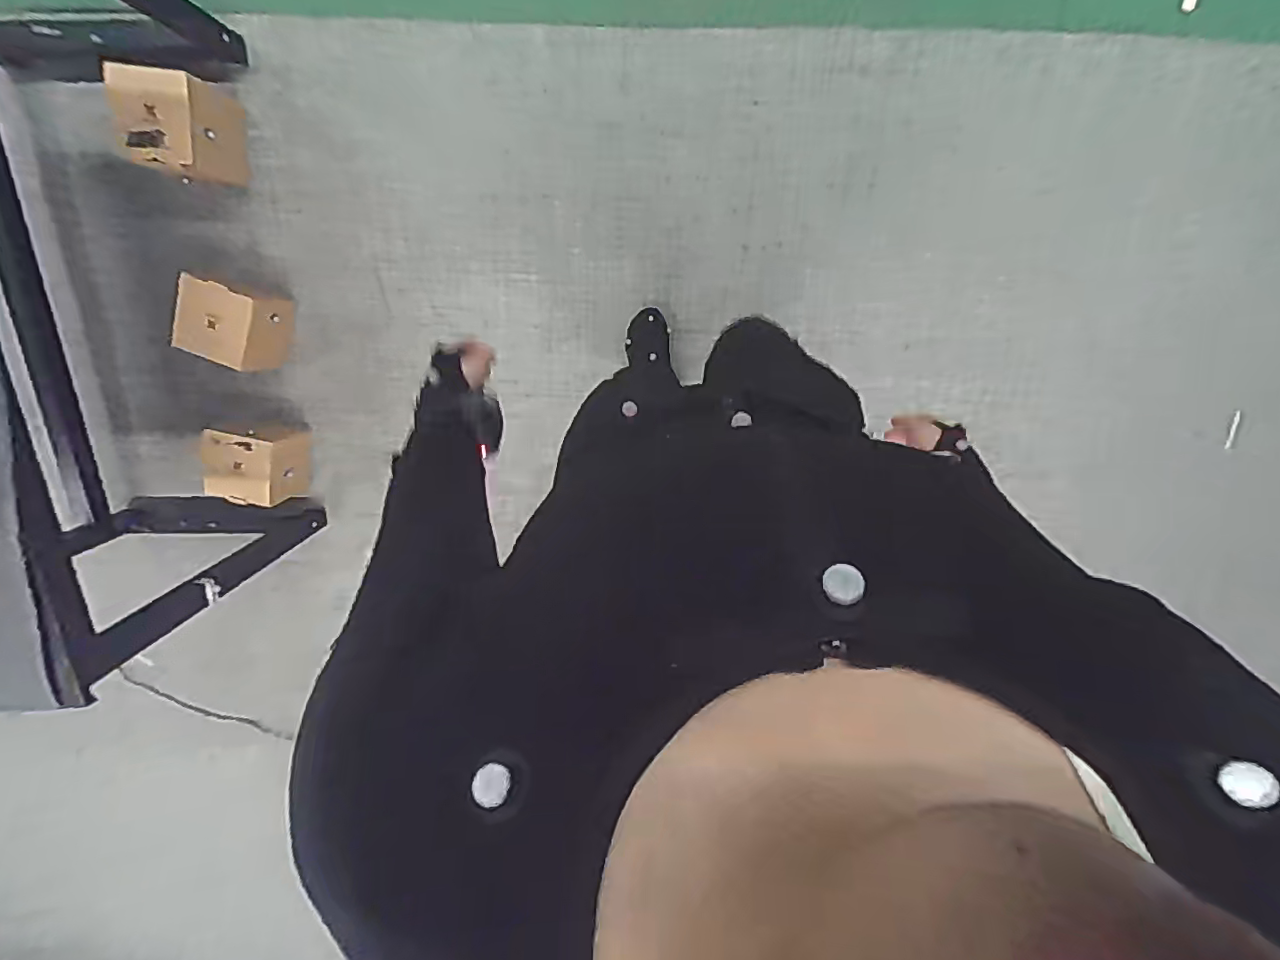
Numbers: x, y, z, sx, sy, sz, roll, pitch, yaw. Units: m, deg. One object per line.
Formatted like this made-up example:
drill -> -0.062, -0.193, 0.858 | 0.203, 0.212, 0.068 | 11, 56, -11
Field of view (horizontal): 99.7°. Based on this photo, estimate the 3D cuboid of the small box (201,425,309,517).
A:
small box -> -0.988, -0.028, 1.399 | 0.168, 0.176, 0.179 | 12, 107, -4

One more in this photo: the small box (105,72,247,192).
small box -> -1.001, -0.749, 1.184 | 0.168, 0.176, 0.179 | 6, 105, -2

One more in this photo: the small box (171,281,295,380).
small box -> -0.969, -0.360, 1.300 | 0.168, 0.176, 0.179 | 20, 107, -5
